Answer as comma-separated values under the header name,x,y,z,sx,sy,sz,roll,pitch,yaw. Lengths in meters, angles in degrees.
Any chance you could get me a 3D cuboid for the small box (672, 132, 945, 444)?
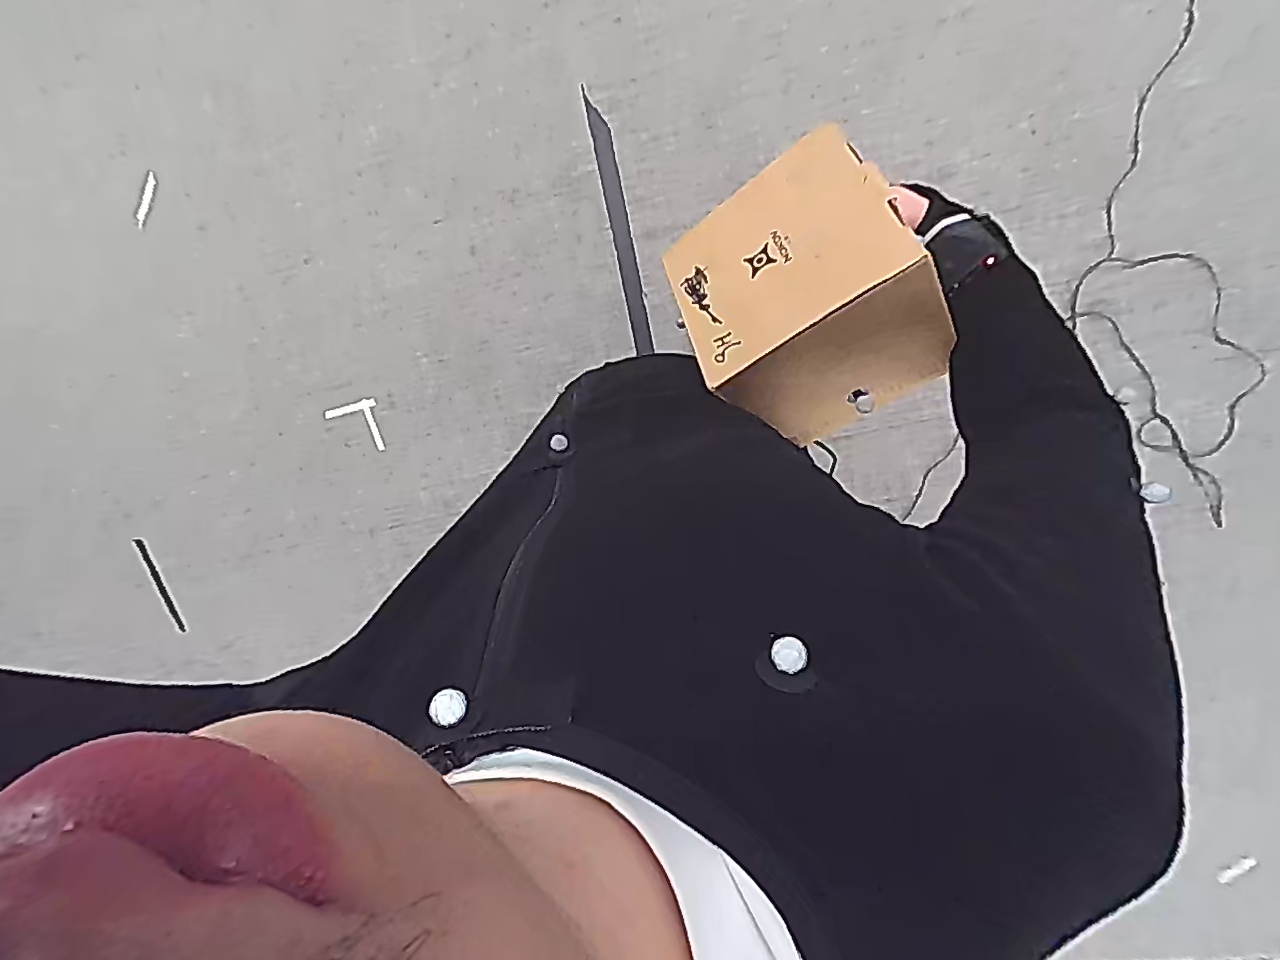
name,x,y,z,sx,sy,sz,roll,pitch,yaw
small box,0.161,-0.160,0.506,0.179,0.176,0.168,-30,57,27
